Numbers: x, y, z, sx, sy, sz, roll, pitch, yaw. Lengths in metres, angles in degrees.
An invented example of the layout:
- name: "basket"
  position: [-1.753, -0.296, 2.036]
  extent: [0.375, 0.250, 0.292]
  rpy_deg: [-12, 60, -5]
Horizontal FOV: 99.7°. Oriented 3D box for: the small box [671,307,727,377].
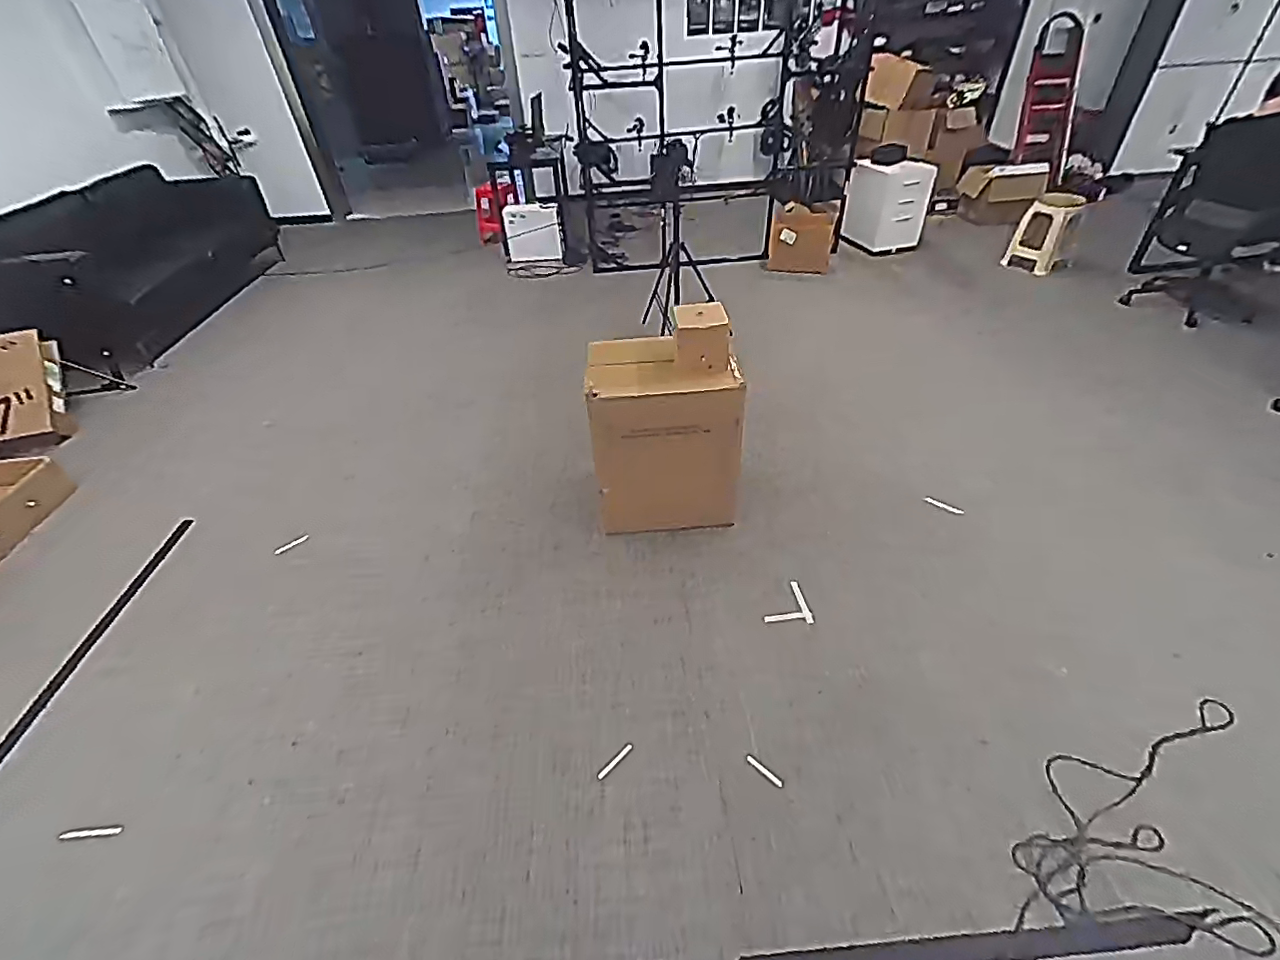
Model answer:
- name: "small box"
  position: [0.195, -0.465, 1.820]
  extent: [0.168, 0.176, 0.179]
  rpy_deg: [-6, 41, 0]
